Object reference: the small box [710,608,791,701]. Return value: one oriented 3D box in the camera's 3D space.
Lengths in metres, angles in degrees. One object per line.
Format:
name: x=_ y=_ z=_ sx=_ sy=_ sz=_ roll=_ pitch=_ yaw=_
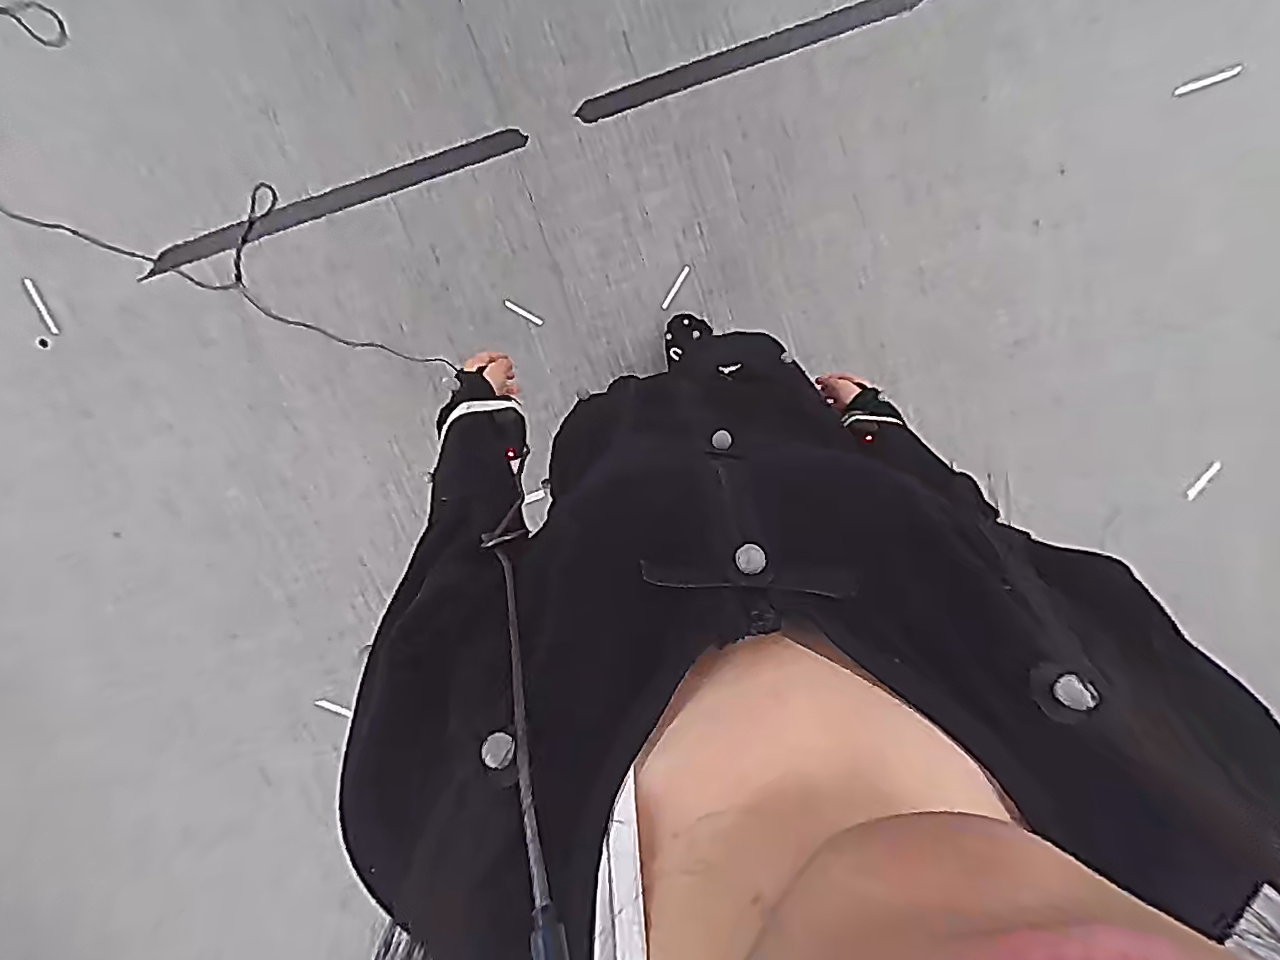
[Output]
small box: x=0.304 y=0.482 z=1.528 sx=0.168 sy=0.176 sz=0.179 roll=-19 pitch=103 yaw=5
